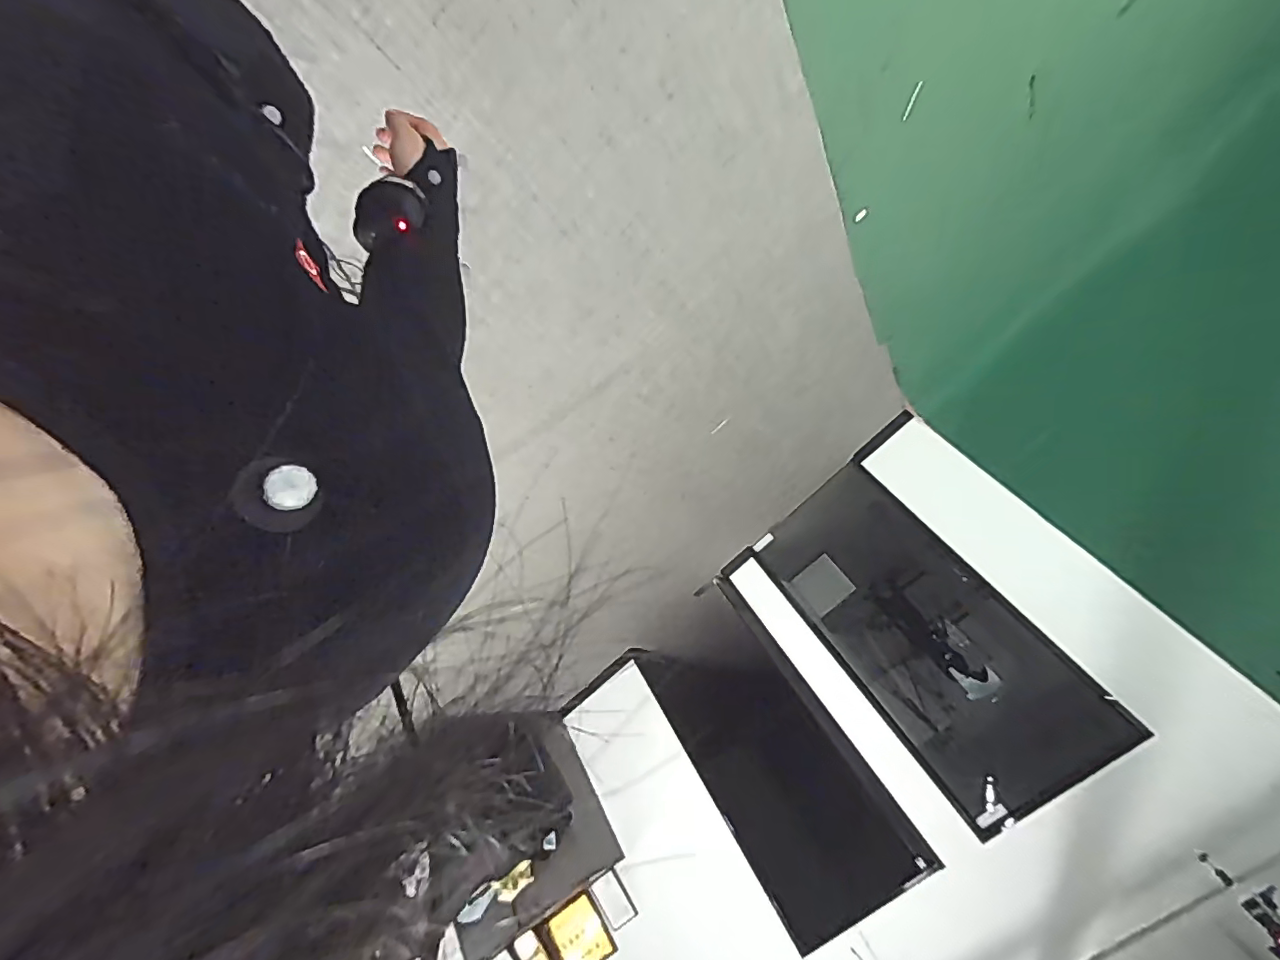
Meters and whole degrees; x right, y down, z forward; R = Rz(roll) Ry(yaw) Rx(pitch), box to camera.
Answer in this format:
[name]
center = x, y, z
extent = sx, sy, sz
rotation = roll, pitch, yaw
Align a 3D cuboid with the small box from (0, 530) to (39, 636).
[small box]
center = -1.423, 0.212, 1.147
extent = 0.179, 0.176, 0.168
rotation = -46, 146, 16
